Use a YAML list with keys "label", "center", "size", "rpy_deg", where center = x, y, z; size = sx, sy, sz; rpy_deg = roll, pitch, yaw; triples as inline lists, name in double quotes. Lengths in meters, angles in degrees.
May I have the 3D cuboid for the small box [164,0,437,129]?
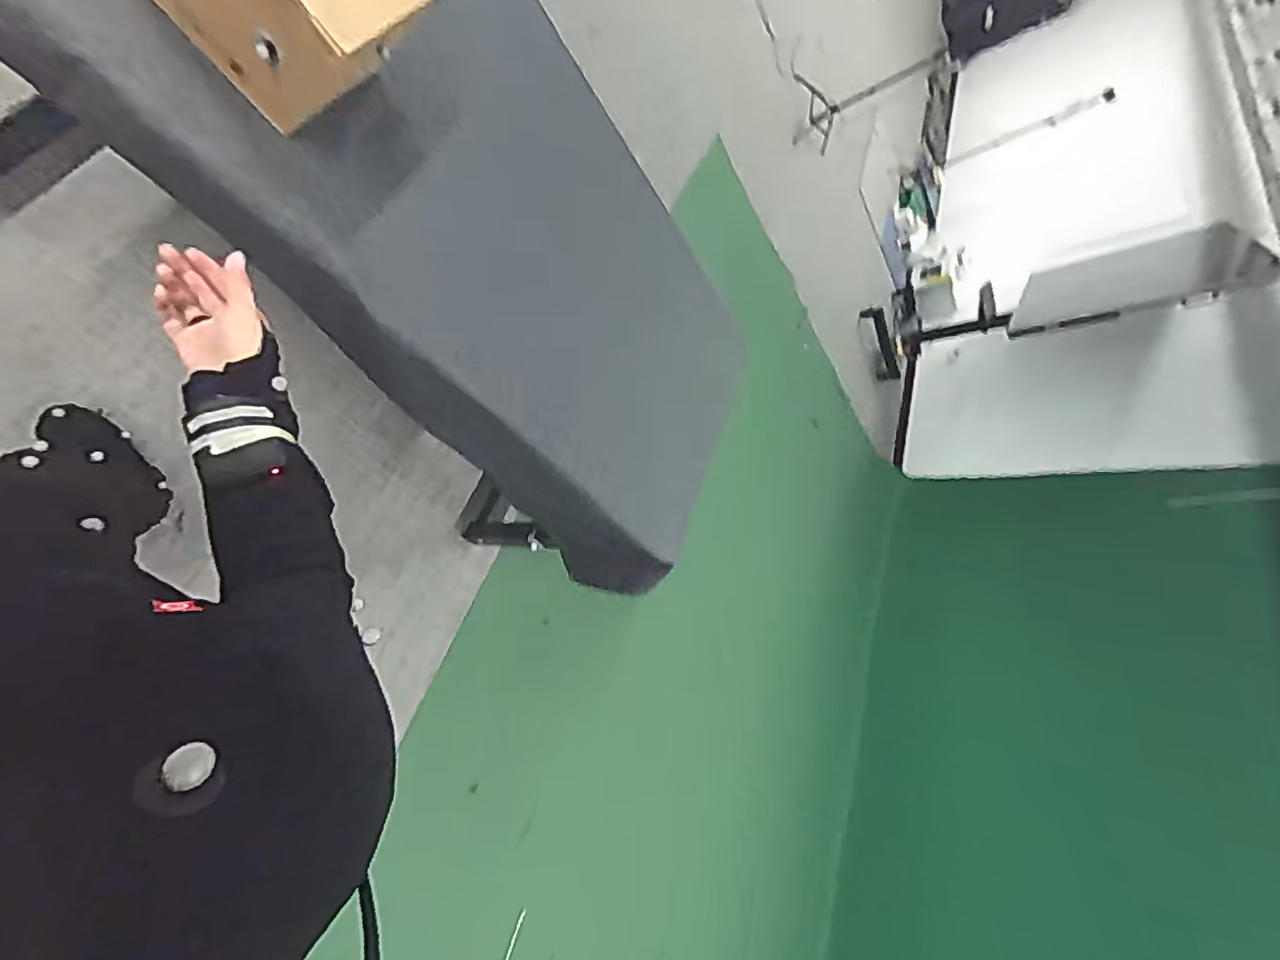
- label: "small box"
  center: [-0.342, -0.494, 0.535]
  size: [0.168, 0.176, 0.179]
  rpy_deg: [49, 52, -38]
